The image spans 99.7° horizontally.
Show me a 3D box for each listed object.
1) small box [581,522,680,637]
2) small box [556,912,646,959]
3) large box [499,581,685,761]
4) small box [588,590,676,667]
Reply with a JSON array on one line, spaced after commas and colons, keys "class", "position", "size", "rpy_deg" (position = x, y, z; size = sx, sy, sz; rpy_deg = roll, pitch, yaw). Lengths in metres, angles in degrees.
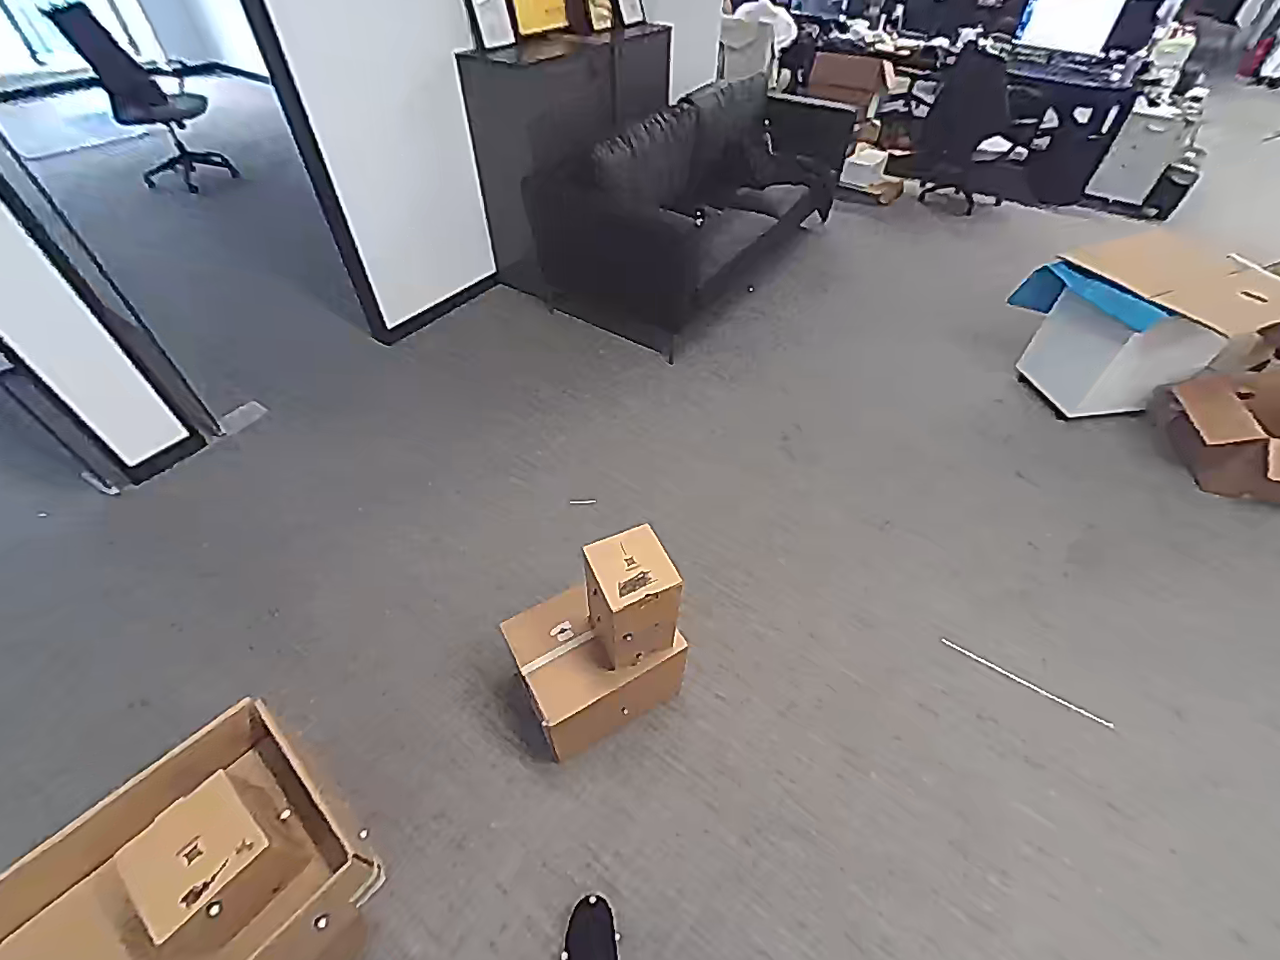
[{"class": "small box", "position": [-0.023, 0.232, 1.223], "size": [0.168, 0.176, 0.179], "rpy_deg": [-19, 52, -17]}, {"class": "small box", "position": [-0.095, 1.072, 1.146], "size": [0.168, 0.176, 0.179], "rpy_deg": [16, 48, 21]}, {"class": "large box", "position": [-0.129, 0.504, 1.524], "size": [0.408, 0.320, 0.320], "rpy_deg": [-25, 53, -21]}, {"class": "small box", "position": [-0.027, 0.334, 1.351], "size": [0.168, 0.176, 0.179], "rpy_deg": [-19, 53, -17]}]
